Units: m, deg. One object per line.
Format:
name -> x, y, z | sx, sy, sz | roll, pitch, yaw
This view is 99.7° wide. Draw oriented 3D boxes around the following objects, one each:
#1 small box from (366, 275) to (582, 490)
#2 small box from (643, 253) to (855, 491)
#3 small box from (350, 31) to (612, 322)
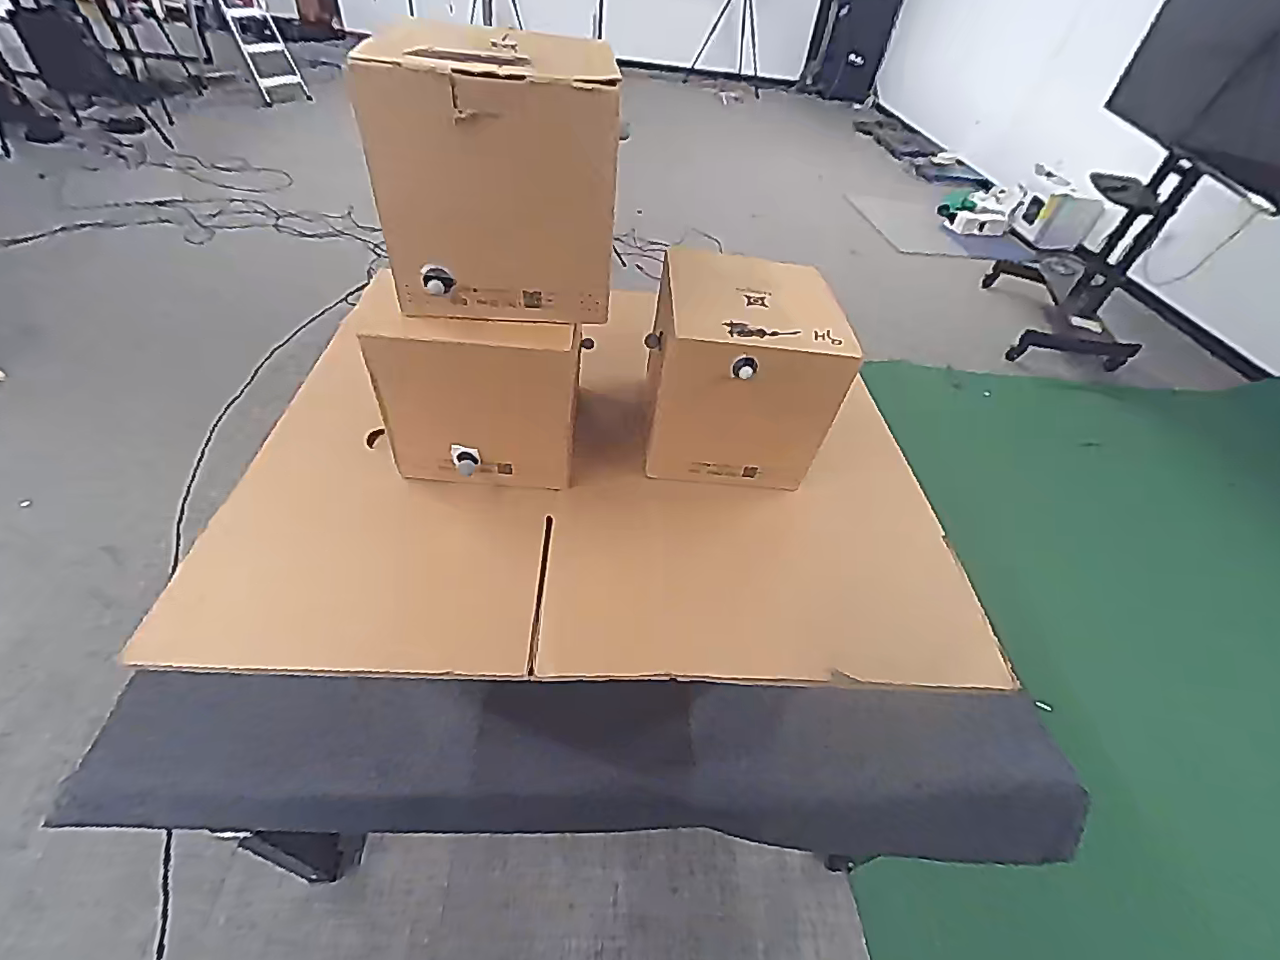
small box -> -0.145, -0.112, 0.544 | 0.168, 0.176, 0.179 | 2, 48, -5
small box -> 0.095, -0.113, 0.572 | 0.168, 0.176, 0.179 | 5, 45, -5
small box -> -0.110, -0.247, 0.450 | 0.168, 0.176, 0.179 | 1, 45, -8
